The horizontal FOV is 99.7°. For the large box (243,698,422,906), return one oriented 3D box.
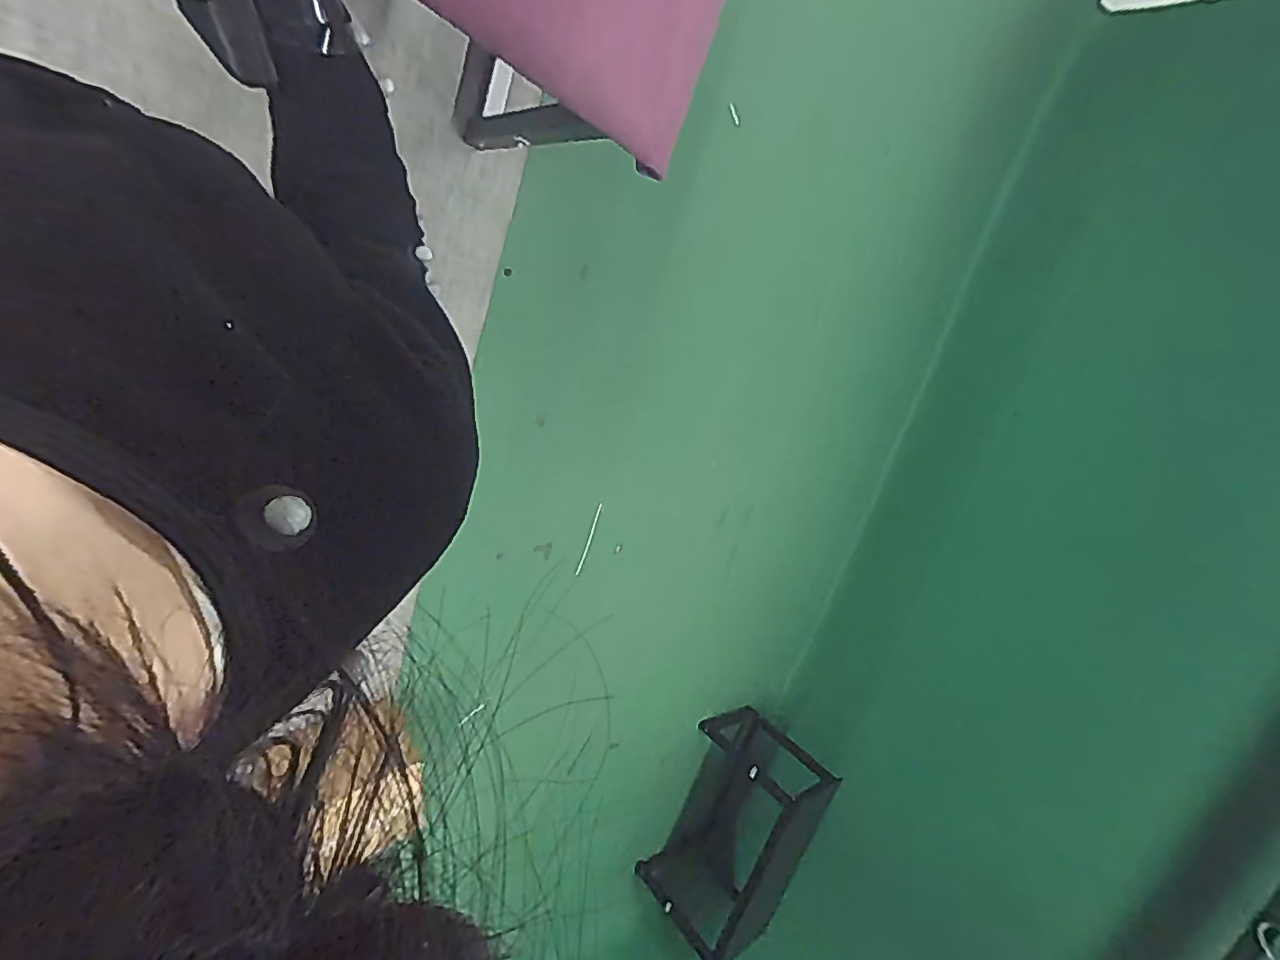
[{"bbox_3d":[-0.932,0.954,1.659,0.408,0.320,0.320,-12,120,-40],"label":"large box"}]
